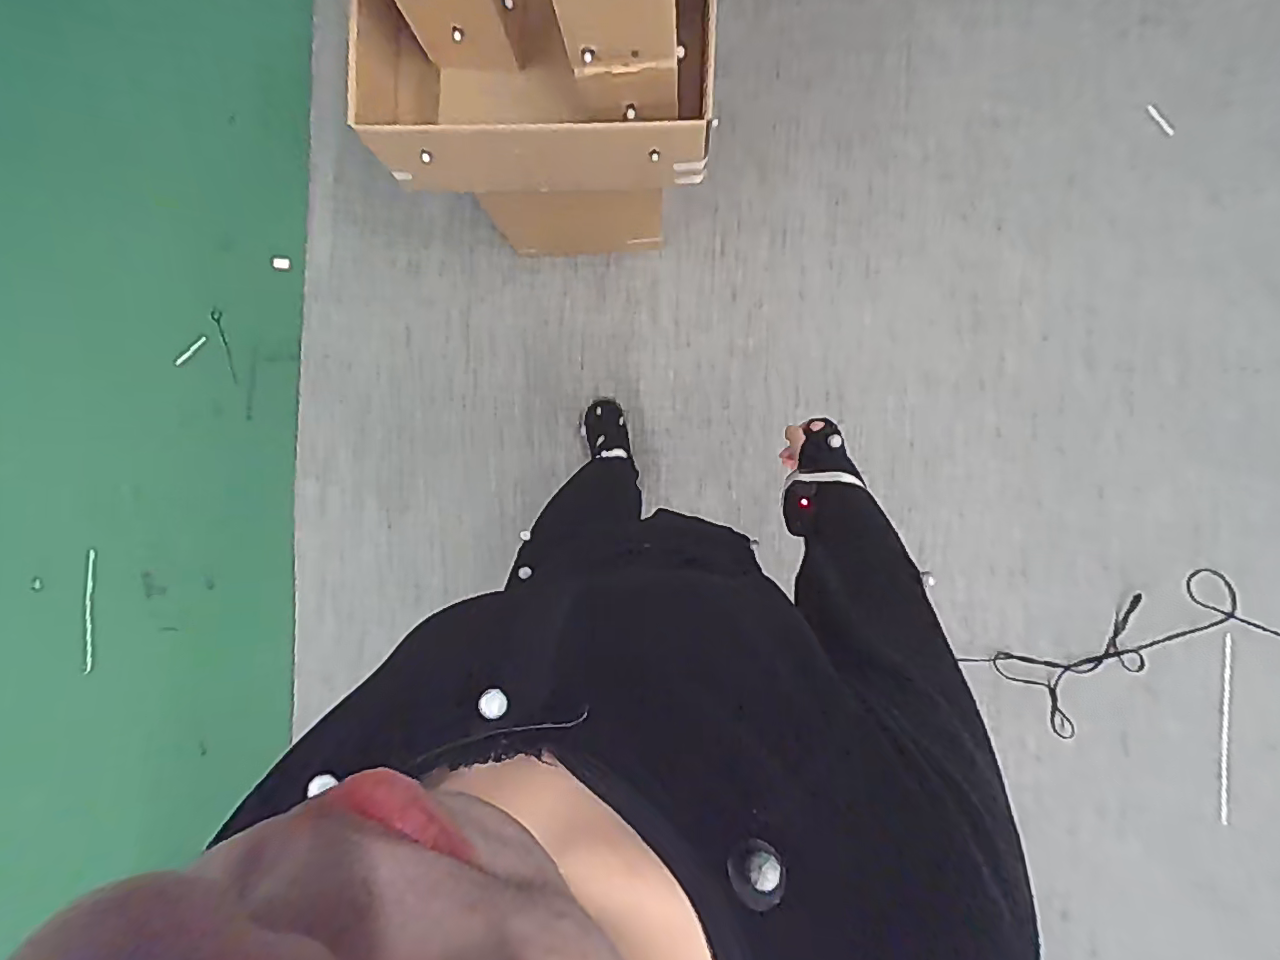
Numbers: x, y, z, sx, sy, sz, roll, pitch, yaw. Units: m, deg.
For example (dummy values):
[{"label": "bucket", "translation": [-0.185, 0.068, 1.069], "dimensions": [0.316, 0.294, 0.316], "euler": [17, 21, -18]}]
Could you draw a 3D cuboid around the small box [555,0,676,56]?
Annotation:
[{"label": "small box", "translation": [-0.033, -0.736, 0.759], "dimensions": [0.168, 0.176, 0.179], "euler": [0, 91, 4]}]
